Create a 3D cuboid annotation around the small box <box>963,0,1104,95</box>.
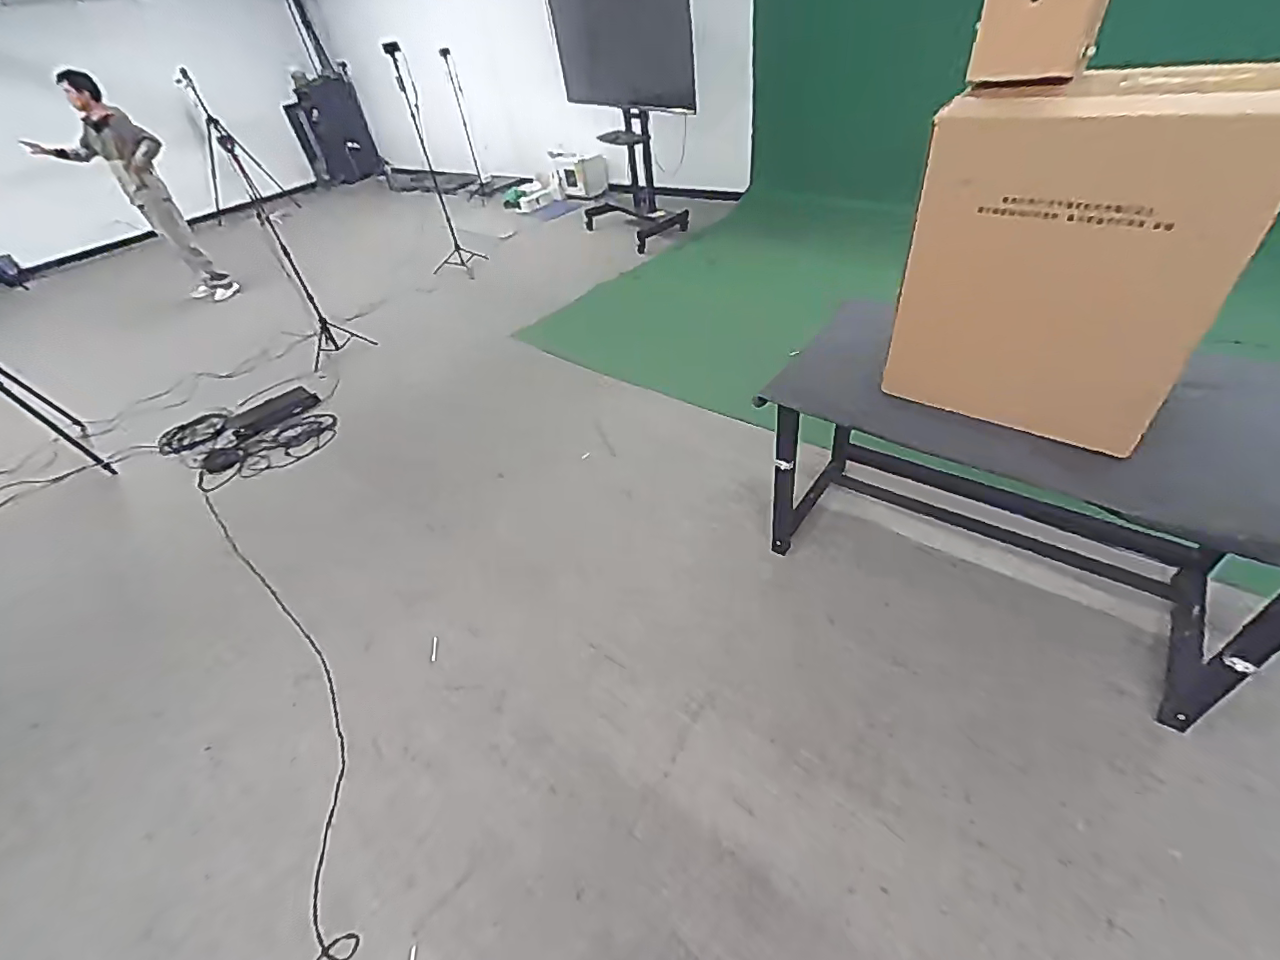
[{"bbox_3d":[0.754,-0.846,1.040,0.179,0.176,0.168,25,44,31],"label":"small box"}]
